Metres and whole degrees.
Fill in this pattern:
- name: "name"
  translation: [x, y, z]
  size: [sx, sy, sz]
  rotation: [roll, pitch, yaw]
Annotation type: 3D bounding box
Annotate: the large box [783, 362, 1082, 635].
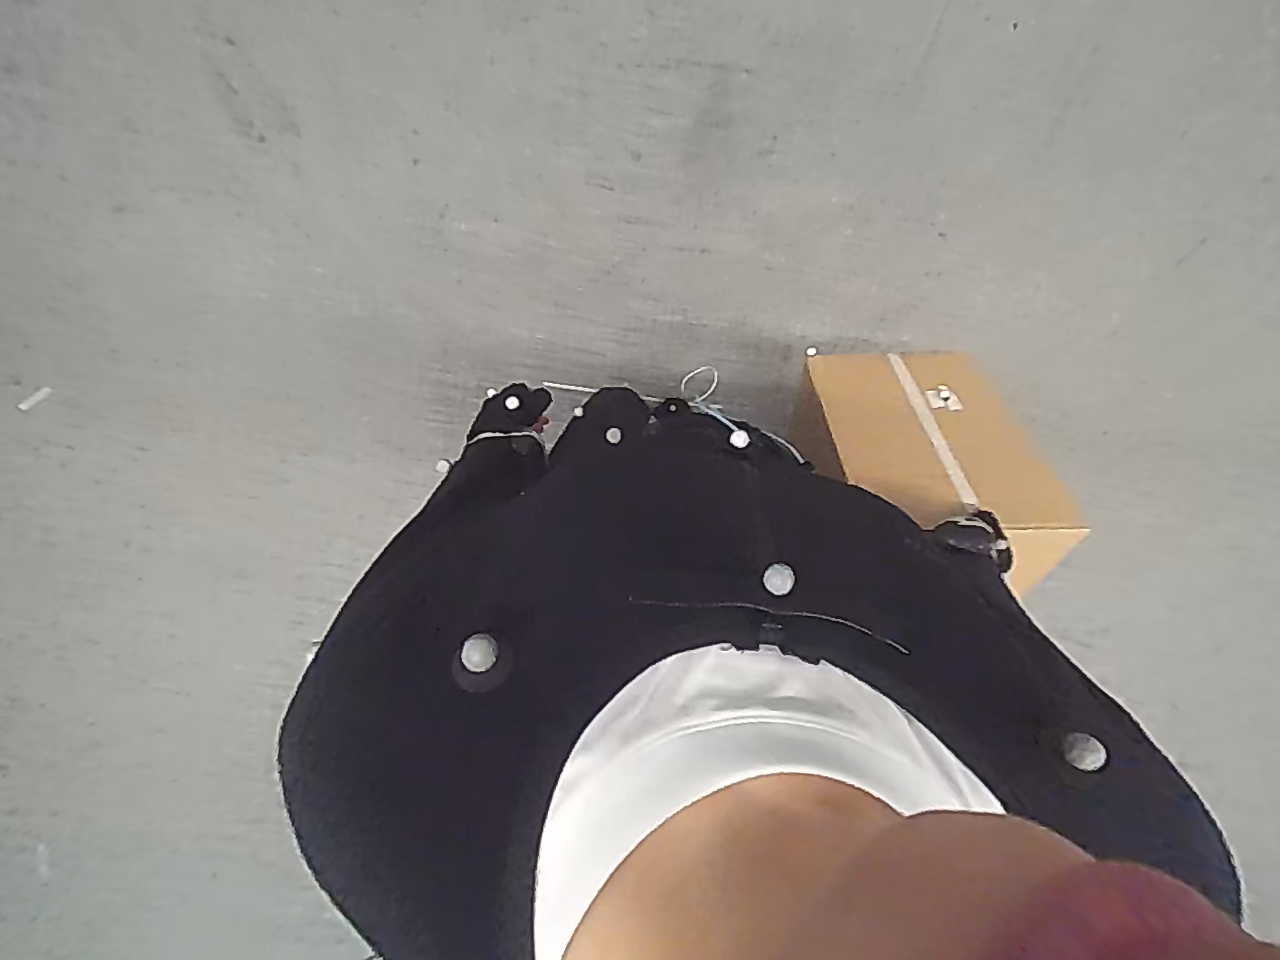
- name: "large box"
  translation: [0.471, 0.032, 0.995]
  size: [0.320, 0.408, 0.320]
  rotation: [-1, 138, 1]
